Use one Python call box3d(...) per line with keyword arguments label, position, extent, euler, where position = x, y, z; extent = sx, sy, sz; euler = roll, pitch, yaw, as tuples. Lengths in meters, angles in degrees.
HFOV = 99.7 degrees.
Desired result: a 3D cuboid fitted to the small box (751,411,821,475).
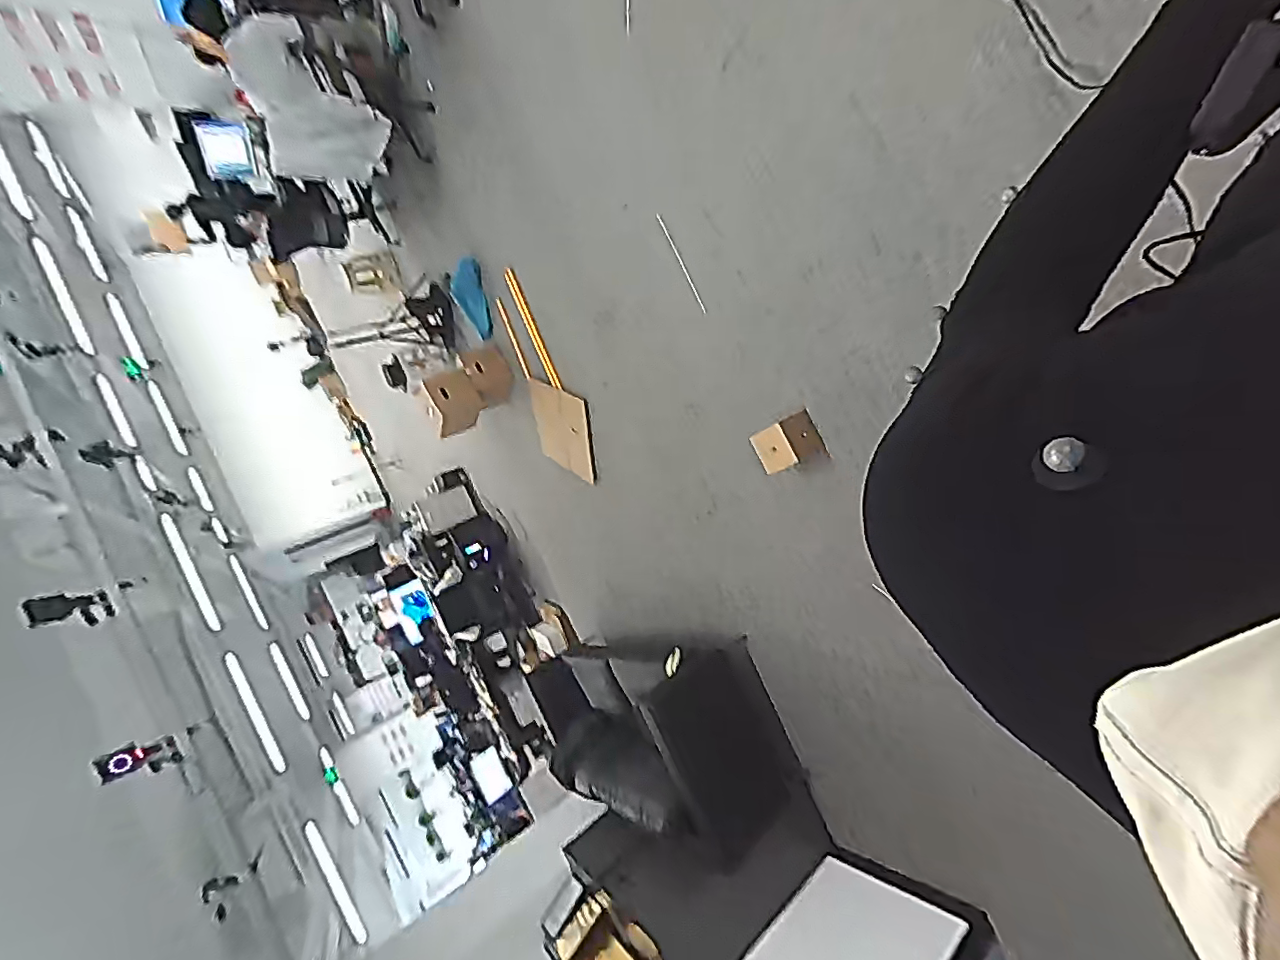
box3d(label="small box", position=(0.568, -0.145, 2.080), extent=(0.168, 0.176, 0.179), euler=(64, 149, 4))
